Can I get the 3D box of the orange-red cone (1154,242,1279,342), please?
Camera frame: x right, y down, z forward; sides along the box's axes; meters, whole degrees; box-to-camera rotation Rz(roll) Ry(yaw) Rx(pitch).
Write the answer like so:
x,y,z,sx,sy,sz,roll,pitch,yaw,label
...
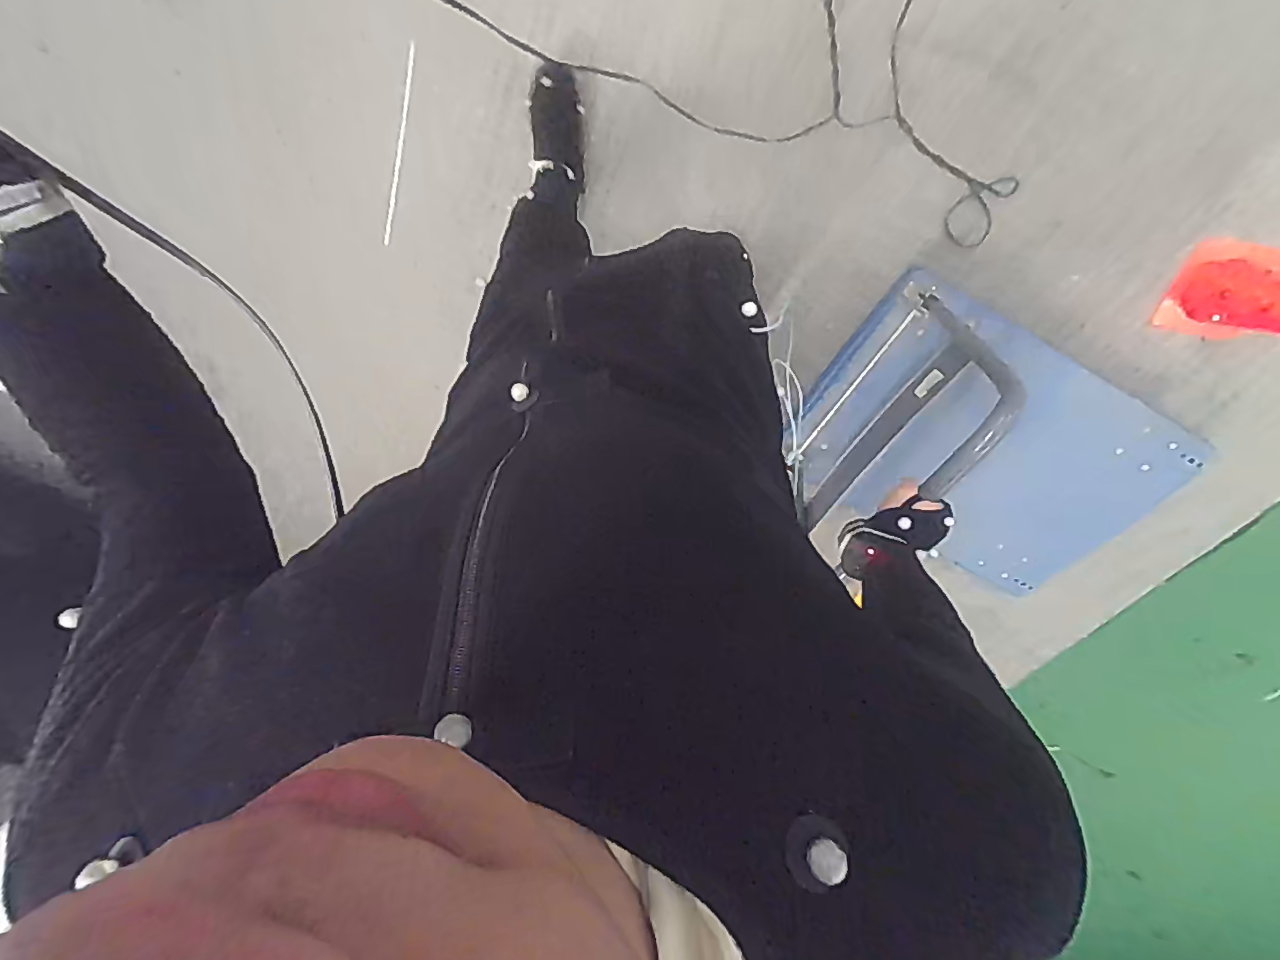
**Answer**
x,y,z,sx,sy,sz,roll,pitch,yaw,label
1.302,-0.338,1.092,0.198,0.360,0.199,13,122,2,orange-red cone
